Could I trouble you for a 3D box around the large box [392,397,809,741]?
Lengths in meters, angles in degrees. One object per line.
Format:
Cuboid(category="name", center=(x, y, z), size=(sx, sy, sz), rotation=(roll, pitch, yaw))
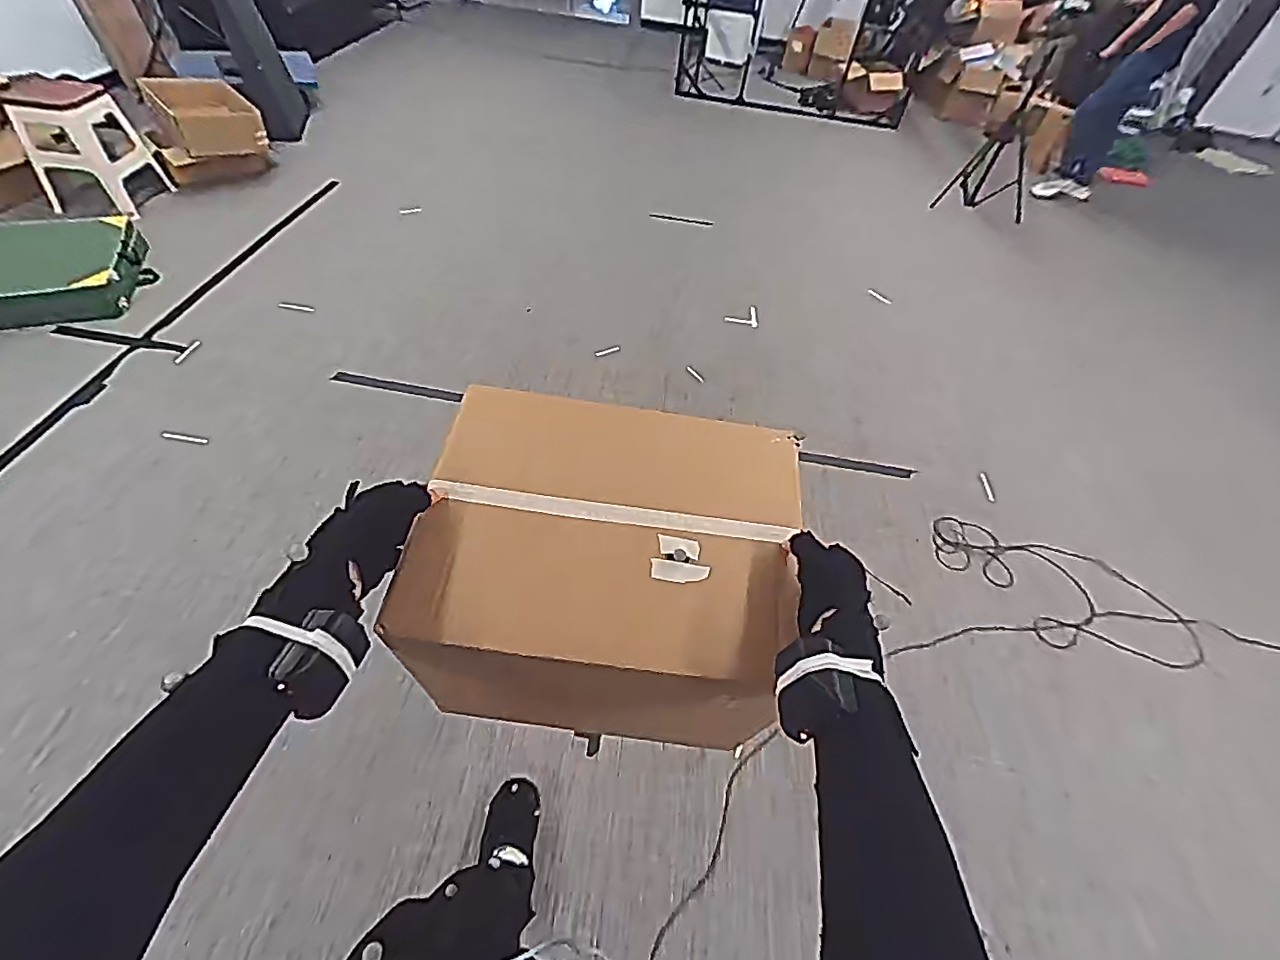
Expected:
Cuboid(category="large box", center=(-0.042, 0.130, 0.711), size=(0.408, 0.320, 0.320), rotation=(8, 54, -2))
